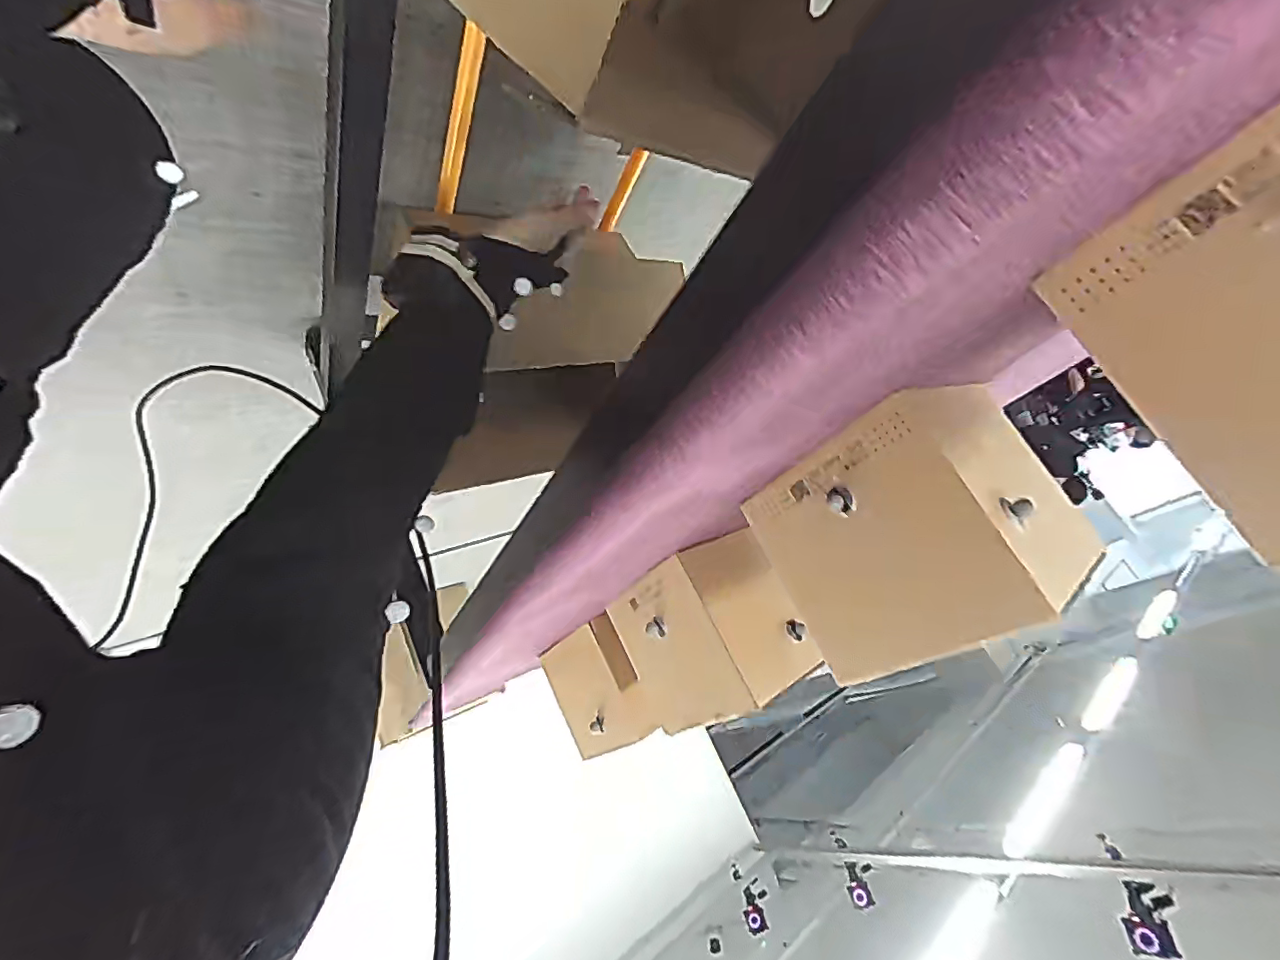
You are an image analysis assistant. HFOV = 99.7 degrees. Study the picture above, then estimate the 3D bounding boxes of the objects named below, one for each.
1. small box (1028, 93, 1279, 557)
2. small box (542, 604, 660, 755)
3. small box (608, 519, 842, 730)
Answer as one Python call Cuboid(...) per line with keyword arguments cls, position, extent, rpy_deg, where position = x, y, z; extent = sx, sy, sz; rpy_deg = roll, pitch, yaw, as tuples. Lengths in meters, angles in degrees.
Cuboid(cls="small box", position=(0.339, -0.086, 0.264), extent=(0.179, 0.176, 0.168), rpy_deg=(-9, 156, -42))
Cuboid(cls="small box", position=(-0.025, 0.280, 0.813), extent=(0.168, 0.176, 0.179), rpy_deg=(-13, 158, -43))
Cuboid(cls="small box", position=(0.094, 0.163, 0.640), extent=(0.179, 0.176, 0.168), rpy_deg=(-13, 158, -40))
